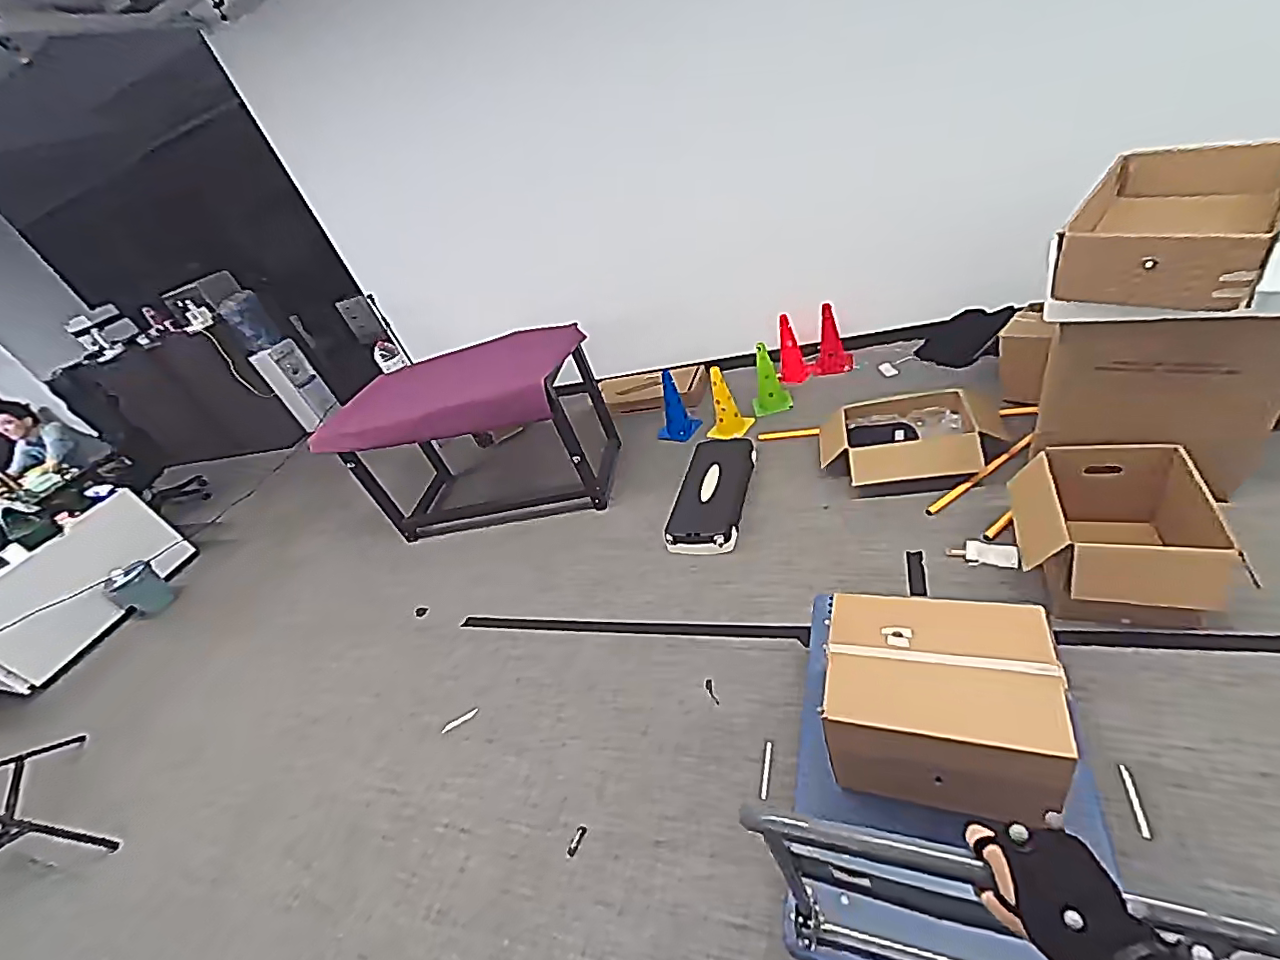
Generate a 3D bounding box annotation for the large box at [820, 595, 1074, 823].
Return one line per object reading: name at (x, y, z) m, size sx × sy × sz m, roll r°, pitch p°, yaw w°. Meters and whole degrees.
large box at (0.622, 0.467, 1.148) m, size 0.408 × 0.320 × 0.320 m, roll -3°, pitch 38°, yaw 27°
